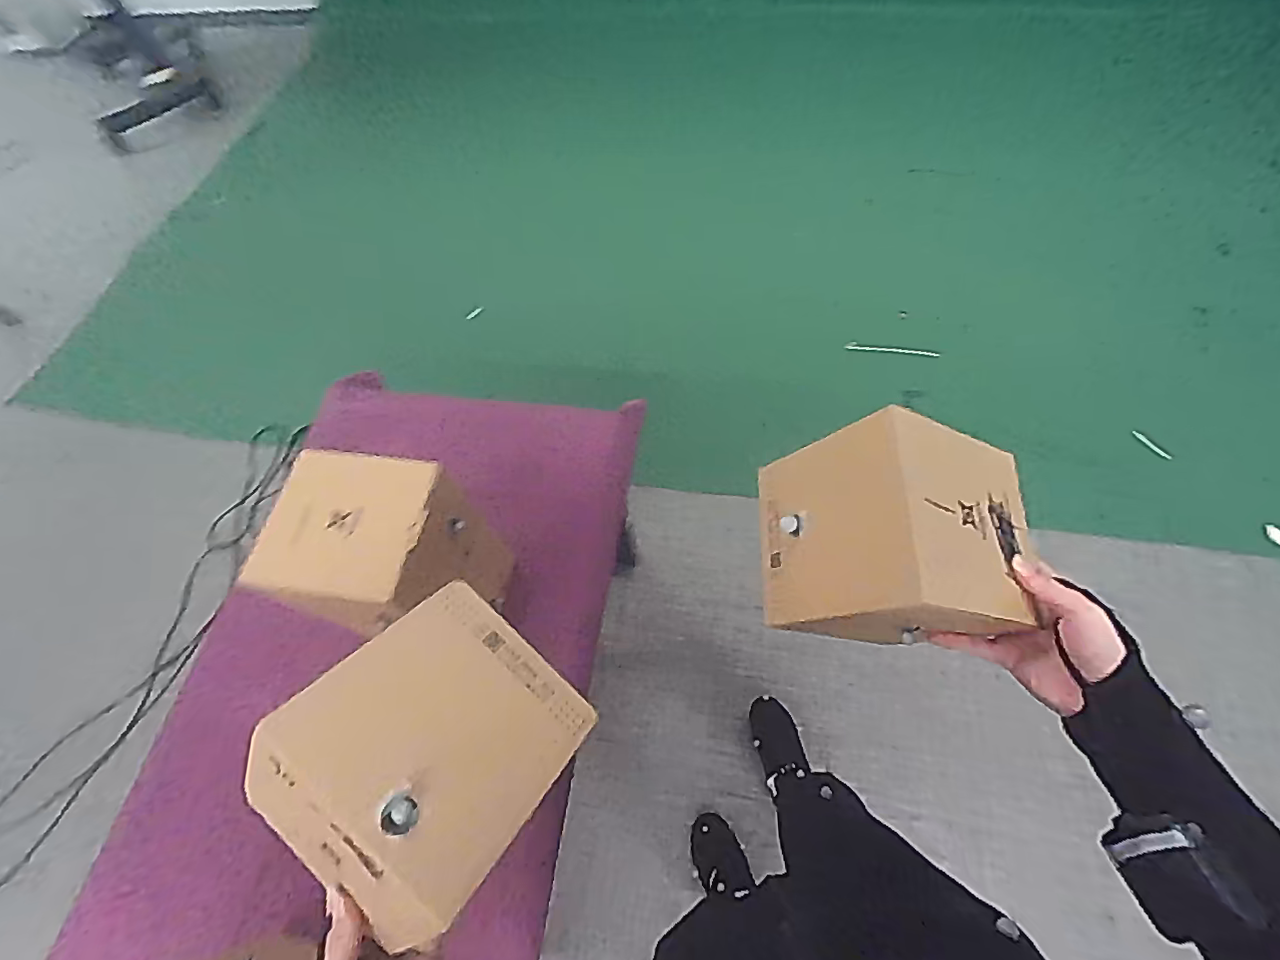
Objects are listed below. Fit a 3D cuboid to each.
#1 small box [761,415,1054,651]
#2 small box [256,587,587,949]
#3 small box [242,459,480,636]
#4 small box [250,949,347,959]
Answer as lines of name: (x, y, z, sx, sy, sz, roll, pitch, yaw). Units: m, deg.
small box: (0.236, 0.066, 0.512, 0.179, 0.176, 0.168, 15, 63, -24)
small box: (-0.171, 0.223, 0.436, 0.168, 0.179, 0.176, 43, 40, 7)
small box: (-0.321, 0.093, 0.669, 0.179, 0.176, 0.168, 5, 62, 8)
small box: (-0.395, 0.629, 0.568, 0.179, 0.176, 0.168, 5, 62, 8)
